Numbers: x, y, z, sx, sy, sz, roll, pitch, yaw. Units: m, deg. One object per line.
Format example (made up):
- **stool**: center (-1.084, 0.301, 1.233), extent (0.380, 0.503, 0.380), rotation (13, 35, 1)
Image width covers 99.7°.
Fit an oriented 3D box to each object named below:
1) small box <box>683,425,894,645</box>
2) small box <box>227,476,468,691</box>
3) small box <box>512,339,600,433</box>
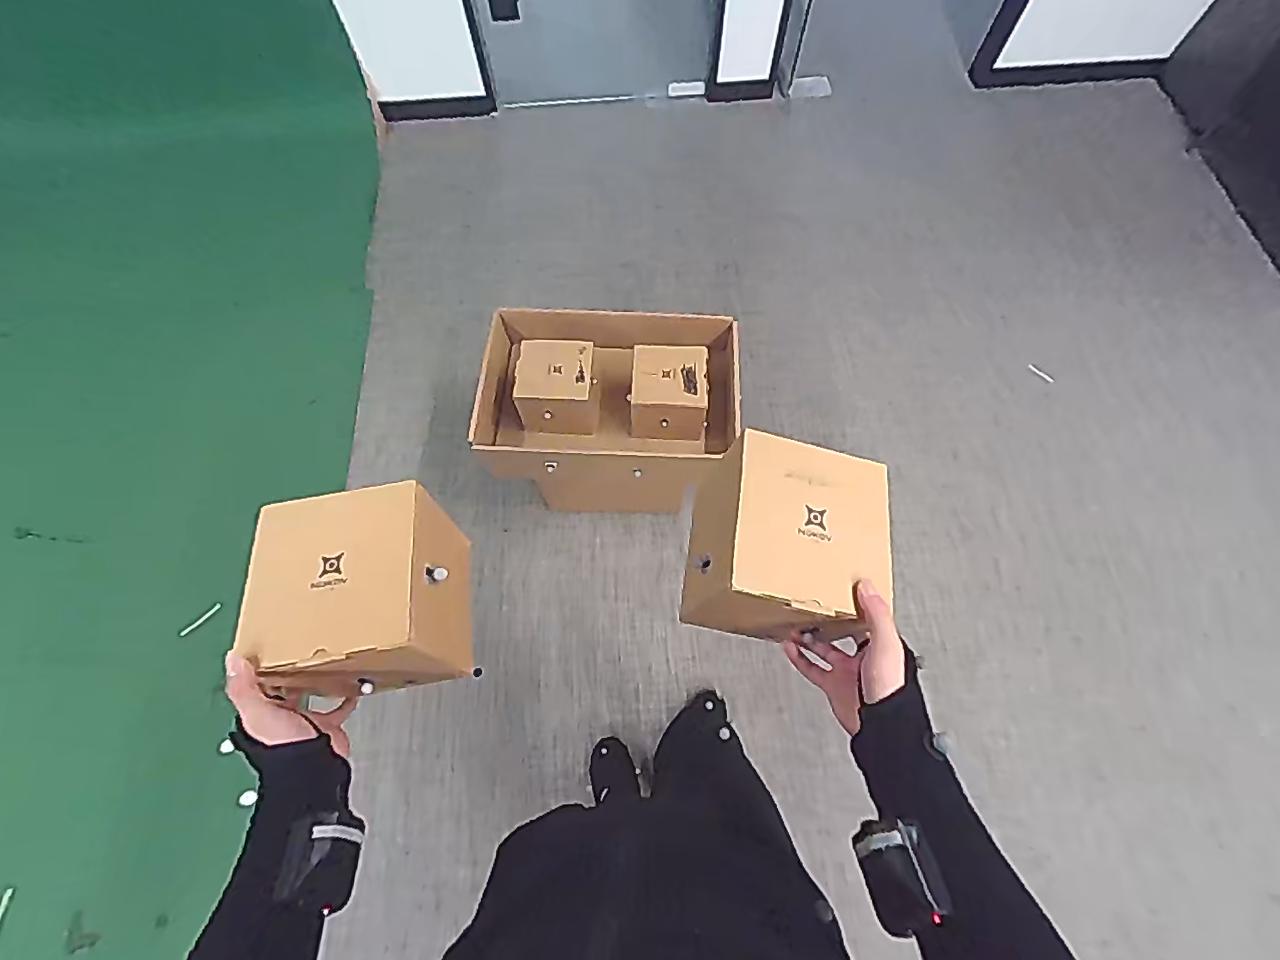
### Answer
- **small box**: center (0.154, 0.072, 0.596), extent (0.168, 0.176, 0.179), rotation (15, 62, -7)
- **small box**: center (-0.296, 0.118, 0.592), extent (0.168, 0.176, 0.179), rotation (-9, 62, -2)
- **small box**: center (-0.197, -0.225, 1.321), extent (0.179, 0.176, 0.168), rotation (3, 66, 2)
